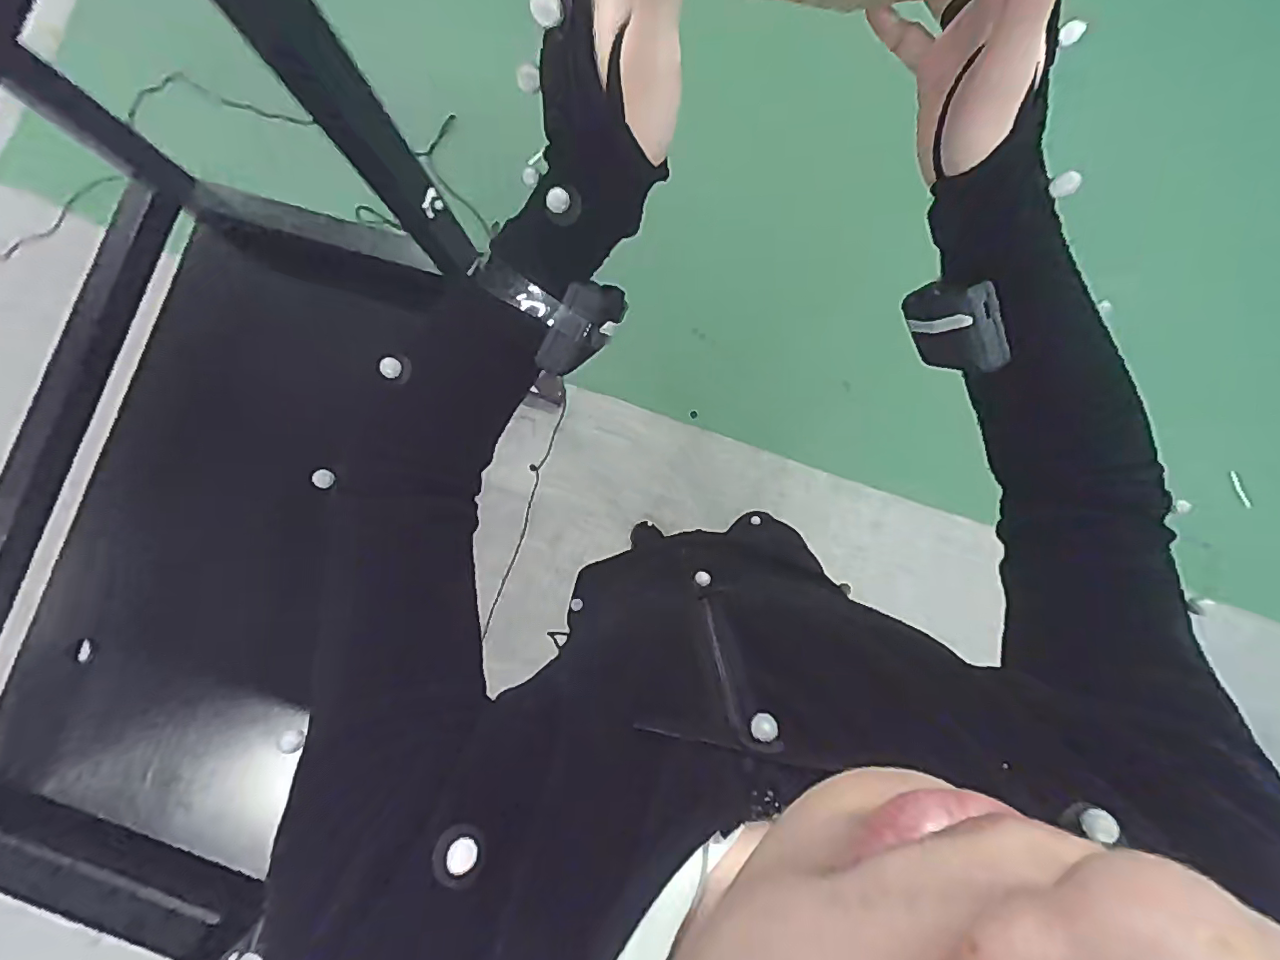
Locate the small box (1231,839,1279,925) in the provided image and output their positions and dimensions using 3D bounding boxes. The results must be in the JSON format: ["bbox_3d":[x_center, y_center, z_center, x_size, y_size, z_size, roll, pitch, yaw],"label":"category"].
[{"bbox_3d":[1.694,1.062,1.382,0.179,0.176,0.168,18,87,4],"label":"small box"}]

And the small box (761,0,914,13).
[{"bbox_3d":[0.091,-0.347,0.260,0.179,0.176,0.168,-1,128,-12],"label":"small box"}]
